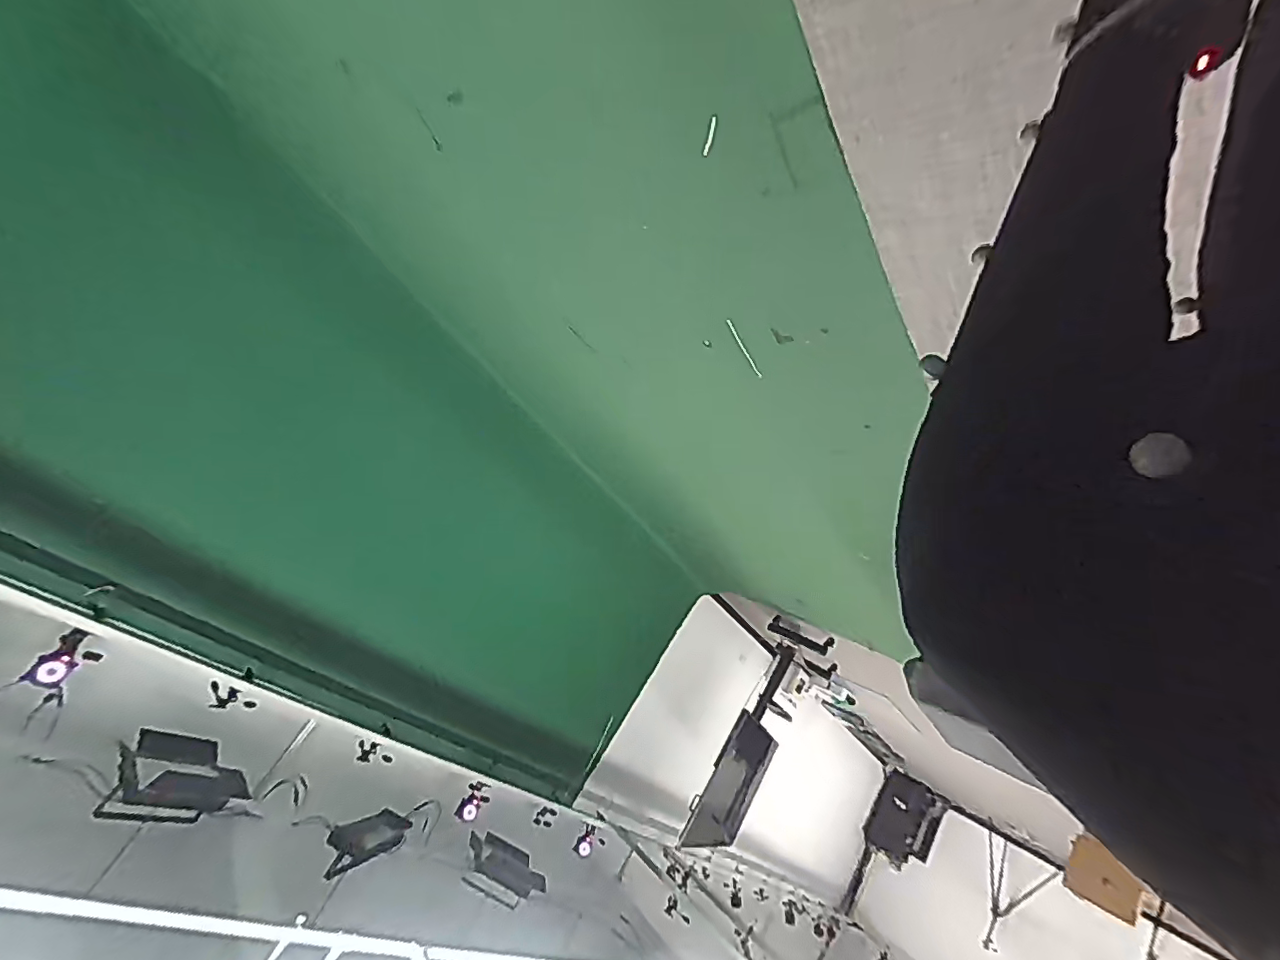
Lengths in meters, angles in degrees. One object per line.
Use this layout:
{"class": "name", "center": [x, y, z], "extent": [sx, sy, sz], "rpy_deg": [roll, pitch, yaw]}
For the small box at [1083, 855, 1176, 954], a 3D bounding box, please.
{"class": "small box", "center": [1.488, 1.278, 1.644], "extent": [0.179, 0.176, 0.168], "rpy_deg": [12, 153, 50]}
